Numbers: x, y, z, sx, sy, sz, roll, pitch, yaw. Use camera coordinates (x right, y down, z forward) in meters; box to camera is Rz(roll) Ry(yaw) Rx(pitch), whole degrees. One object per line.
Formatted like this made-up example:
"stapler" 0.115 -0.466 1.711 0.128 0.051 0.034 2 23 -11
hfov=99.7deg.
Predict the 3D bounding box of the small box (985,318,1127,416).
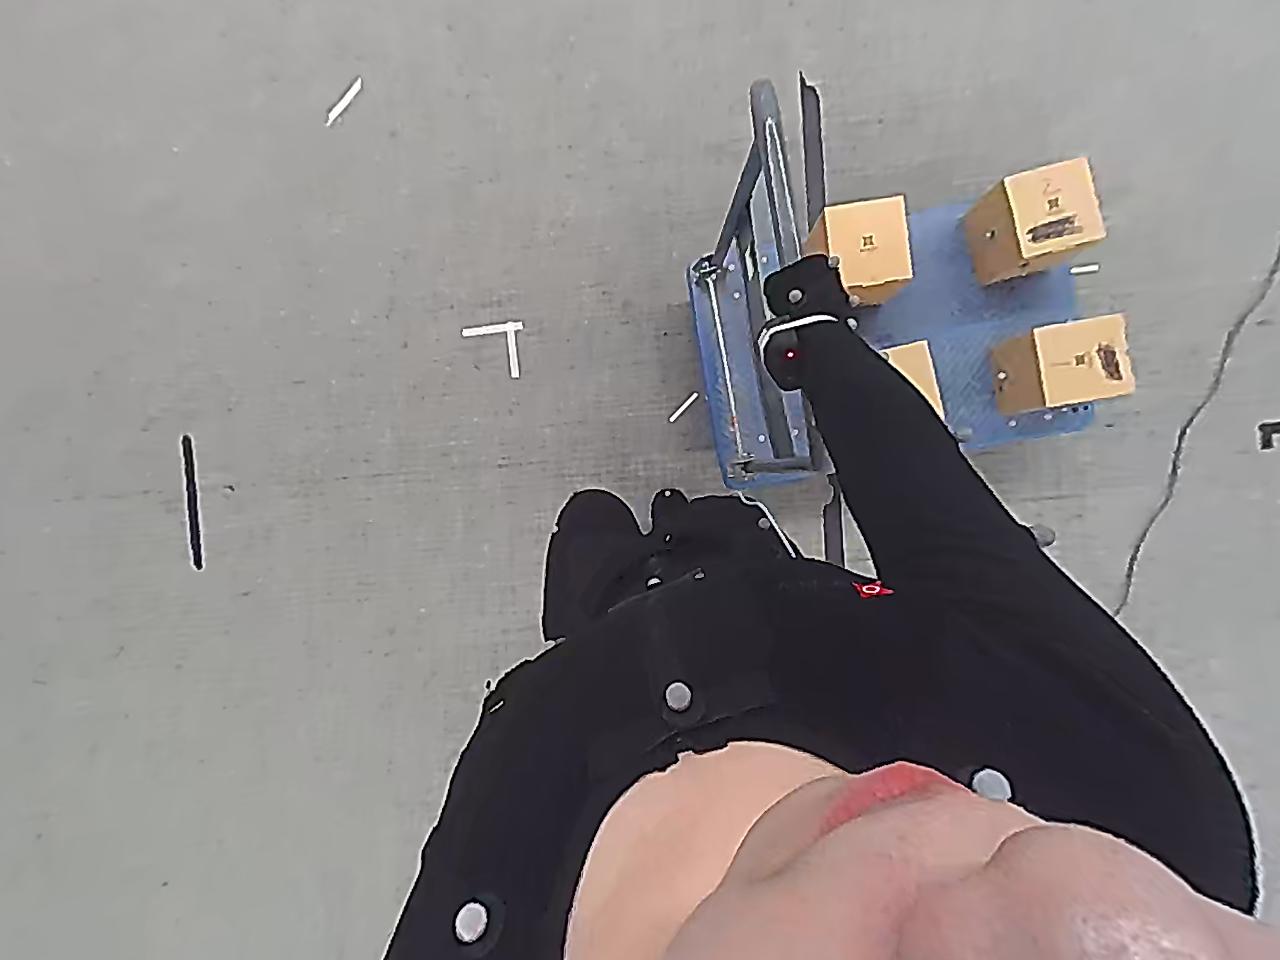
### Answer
"small box" 0.901 -0.240 1.183 0.179 0.176 0.168 -9 90 5

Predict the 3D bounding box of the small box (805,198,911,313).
"small box" 0.477 -0.493 1.208 0.168 0.176 0.179 -8 90 4
